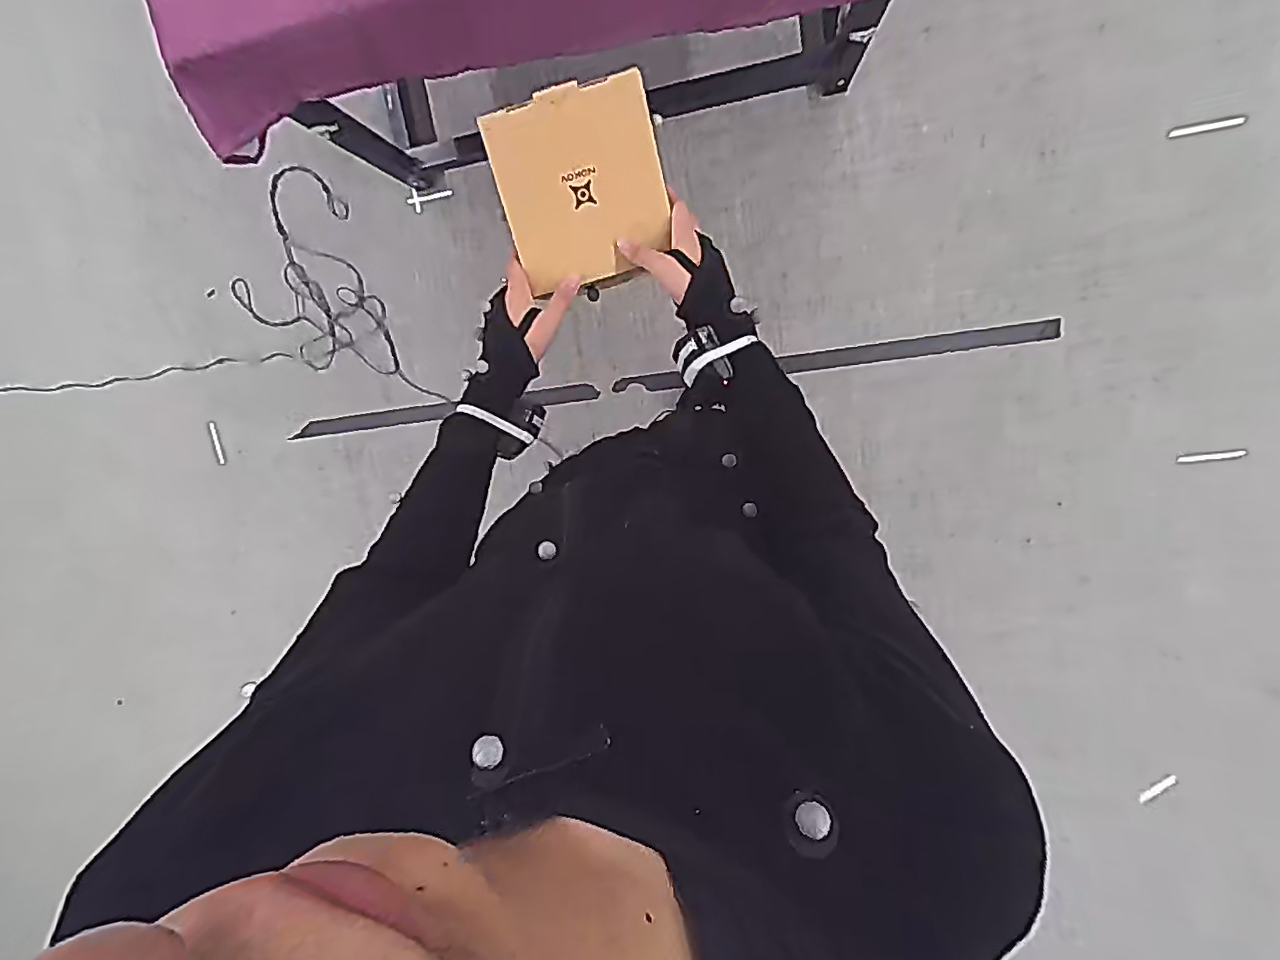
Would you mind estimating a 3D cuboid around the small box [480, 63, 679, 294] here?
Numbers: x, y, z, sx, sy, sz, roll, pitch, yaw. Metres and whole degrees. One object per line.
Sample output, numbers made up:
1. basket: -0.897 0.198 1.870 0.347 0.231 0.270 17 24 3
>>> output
1. small box: -0.056 -0.321 0.620 0.168 0.176 0.179 -15 105 4
